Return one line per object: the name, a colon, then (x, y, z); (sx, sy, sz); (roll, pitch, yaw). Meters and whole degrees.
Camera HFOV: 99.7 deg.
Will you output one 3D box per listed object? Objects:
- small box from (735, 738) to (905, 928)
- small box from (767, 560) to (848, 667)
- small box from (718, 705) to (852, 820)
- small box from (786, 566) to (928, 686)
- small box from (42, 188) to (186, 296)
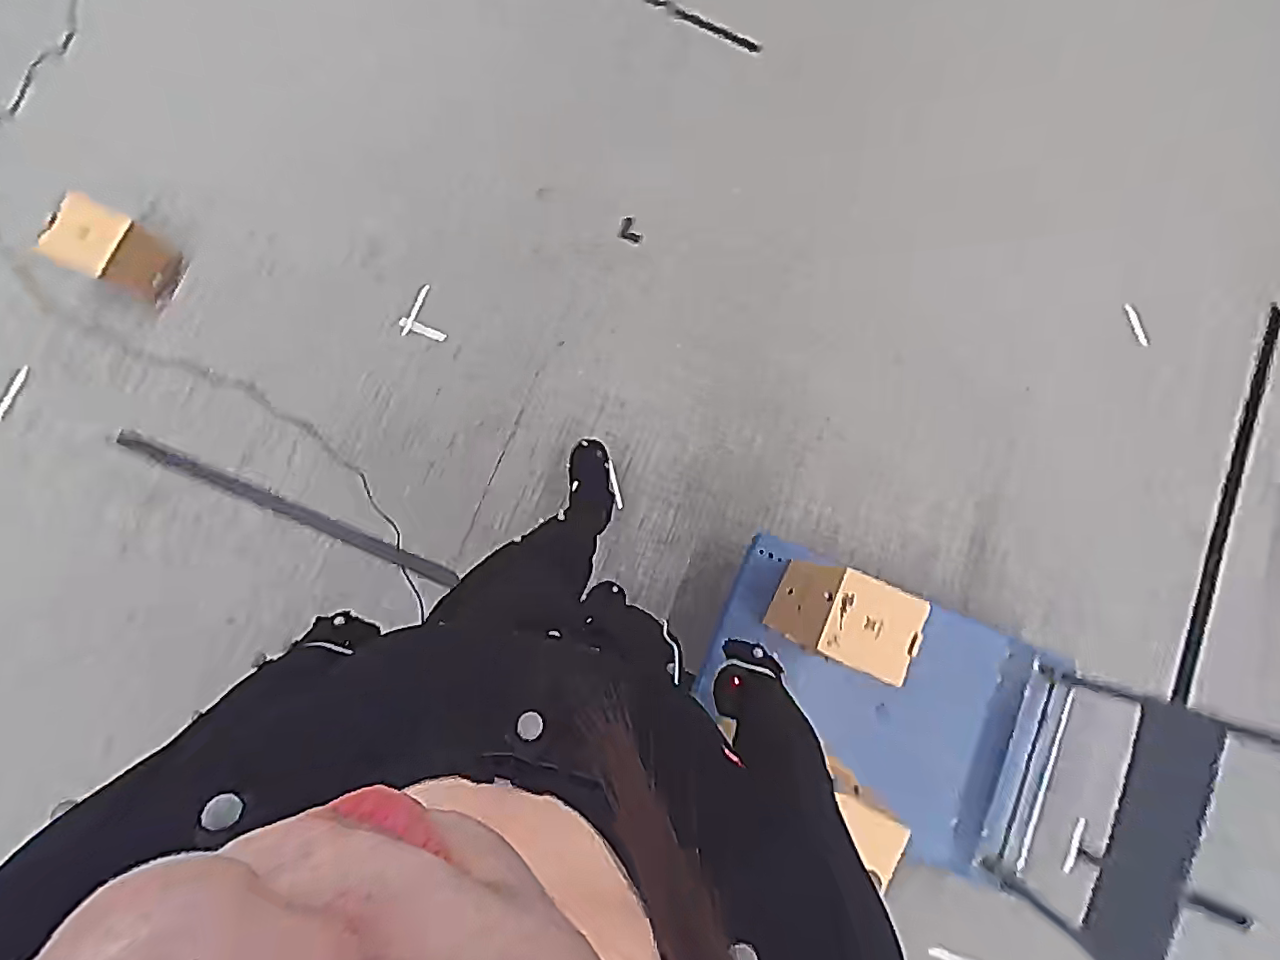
small box: (0.282, 0.558, 0.885); (0.179, 0.176, 0.168); (30, 84, -1)
small box: (0.411, 0.299, 1.246); (0.168, 0.176, 0.179); (28, 83, -1)
small box: (0.269, 0.571, 1.049); (0.168, 0.176, 0.179); (29, 85, -1)
small box: (0.424, 0.280, 1.083); (0.179, 0.176, 0.168); (25, 83, -2)
small box: (-1.371, -0.616, 1.423); (0.179, 0.176, 0.168); (25, 84, -1)
